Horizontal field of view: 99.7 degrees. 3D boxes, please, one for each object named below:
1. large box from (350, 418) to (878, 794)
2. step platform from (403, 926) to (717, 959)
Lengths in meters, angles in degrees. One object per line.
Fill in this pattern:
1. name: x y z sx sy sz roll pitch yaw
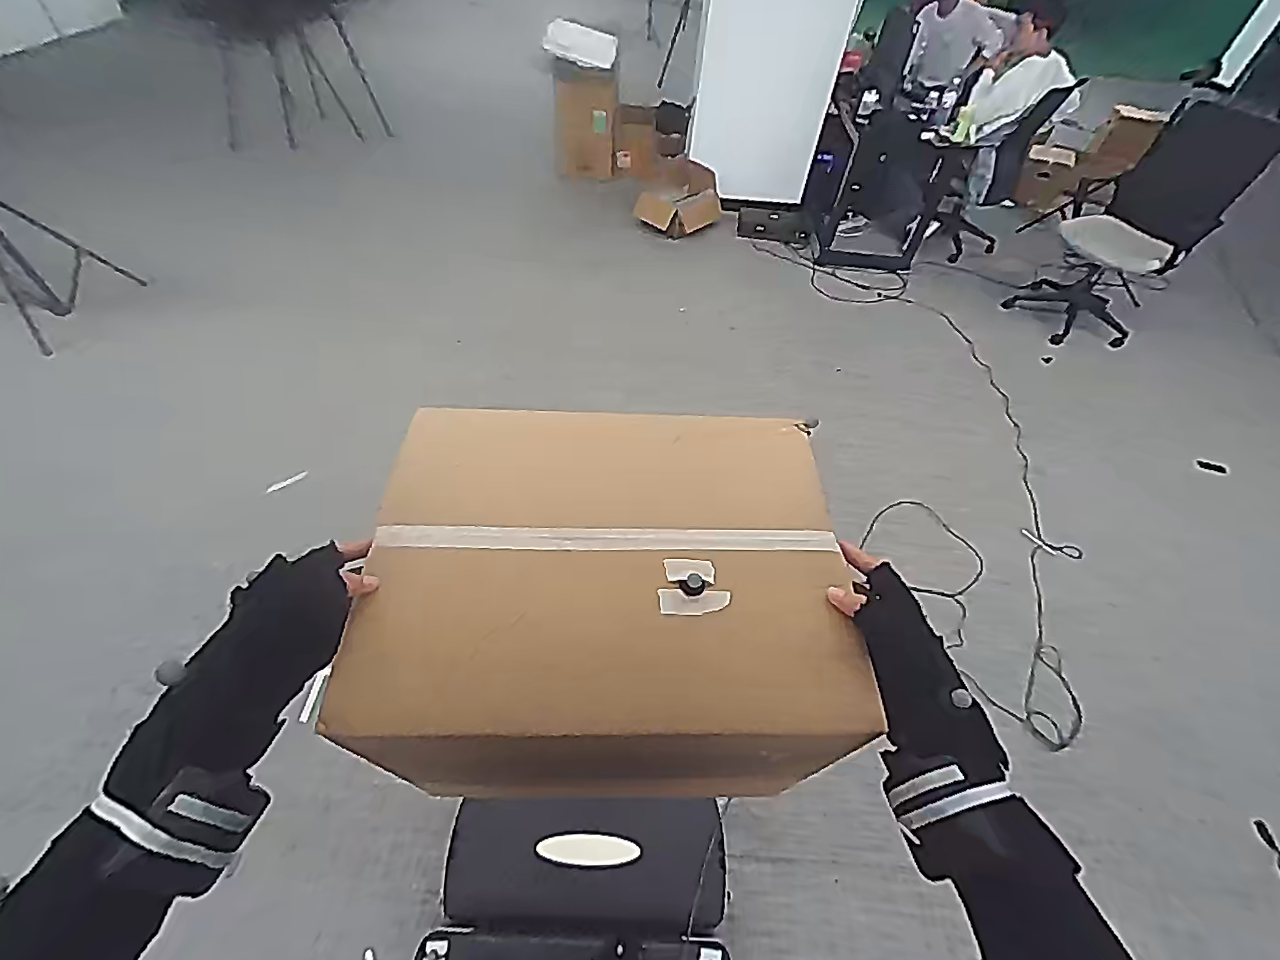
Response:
1. large box: -0.027 0.150 0.606 0.408 0.320 0.320 2 53 -3
2. step platform: -0.166 1.112 1.111 0.684 0.204 0.286 3 50 -1
